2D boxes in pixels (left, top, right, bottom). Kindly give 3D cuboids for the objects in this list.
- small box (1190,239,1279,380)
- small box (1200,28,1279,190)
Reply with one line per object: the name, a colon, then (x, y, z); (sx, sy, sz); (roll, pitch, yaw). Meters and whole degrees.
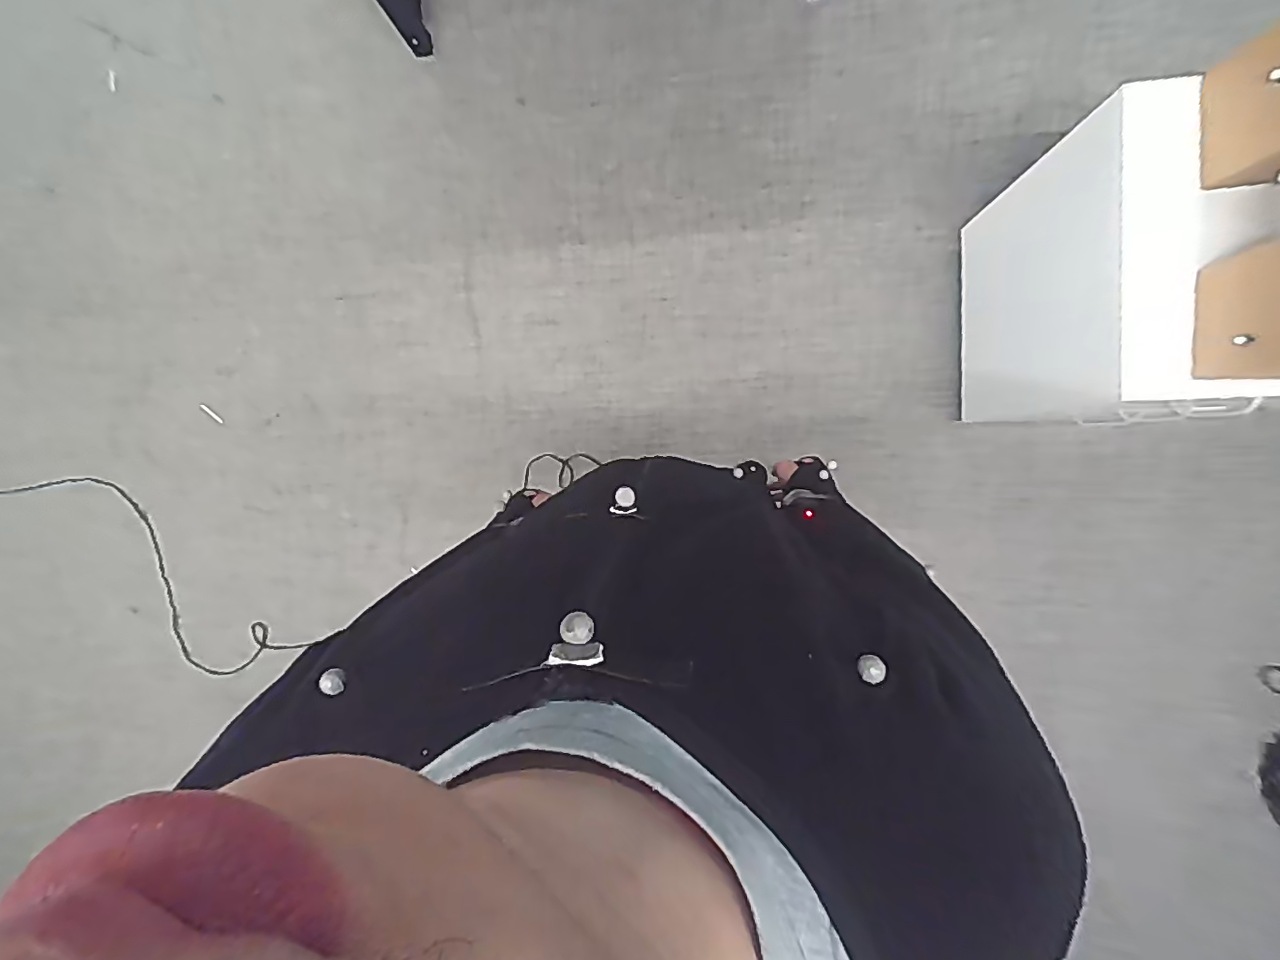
small box: (0.945, -0.239, 0.770); (0.168, 0.176, 0.179); (0, 91, 6)
small box: (0.944, -0.537, 0.754); (0.168, 0.176, 0.179); (-3, 94, 7)
